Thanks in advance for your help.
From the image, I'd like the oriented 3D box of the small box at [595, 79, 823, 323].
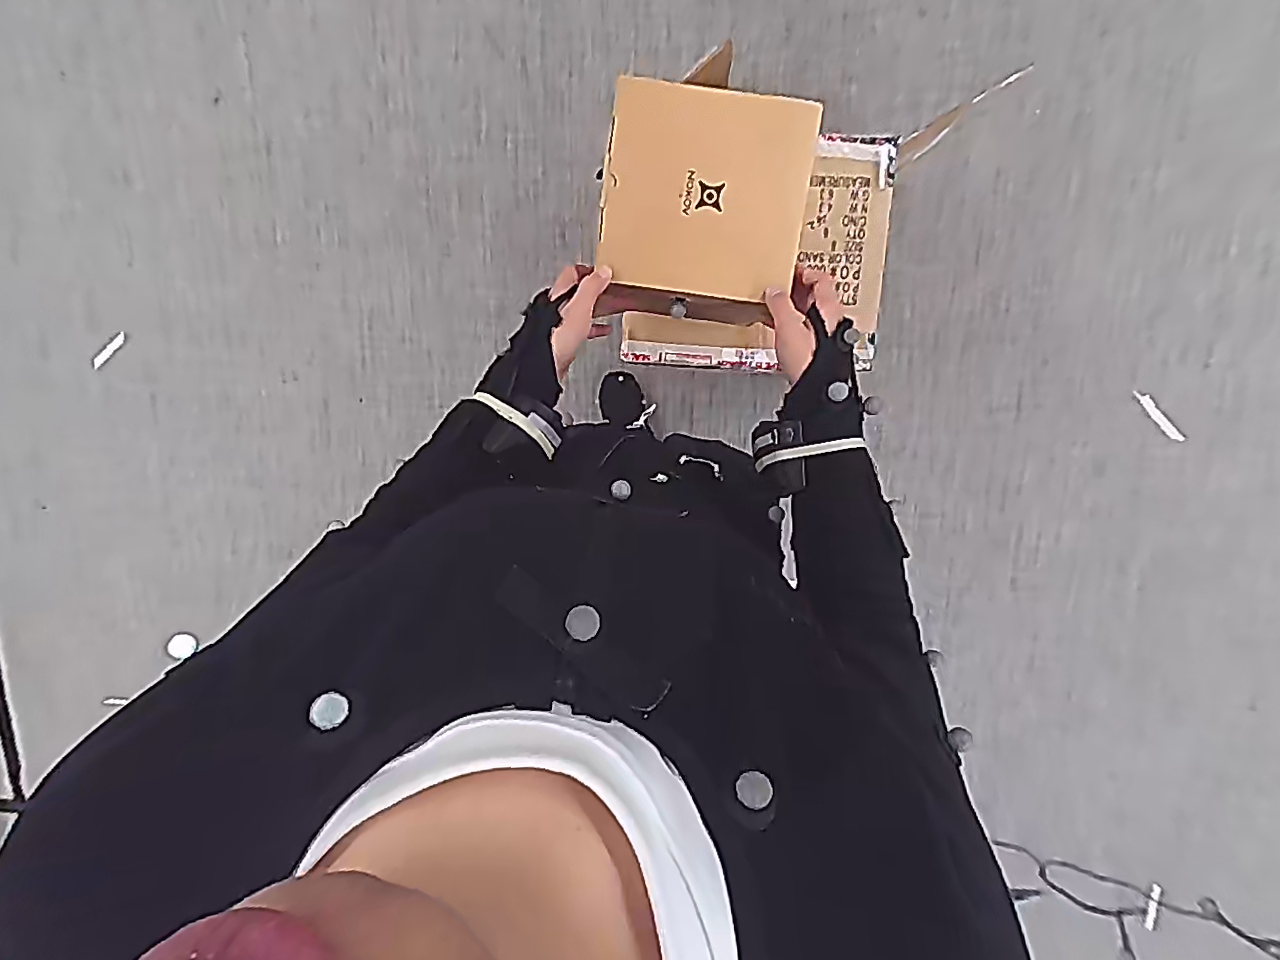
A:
[{"bbox_3d":[0.060,-0.258,0.544,0.179,0.176,0.168,8,100,1],"label":"small box"}]
